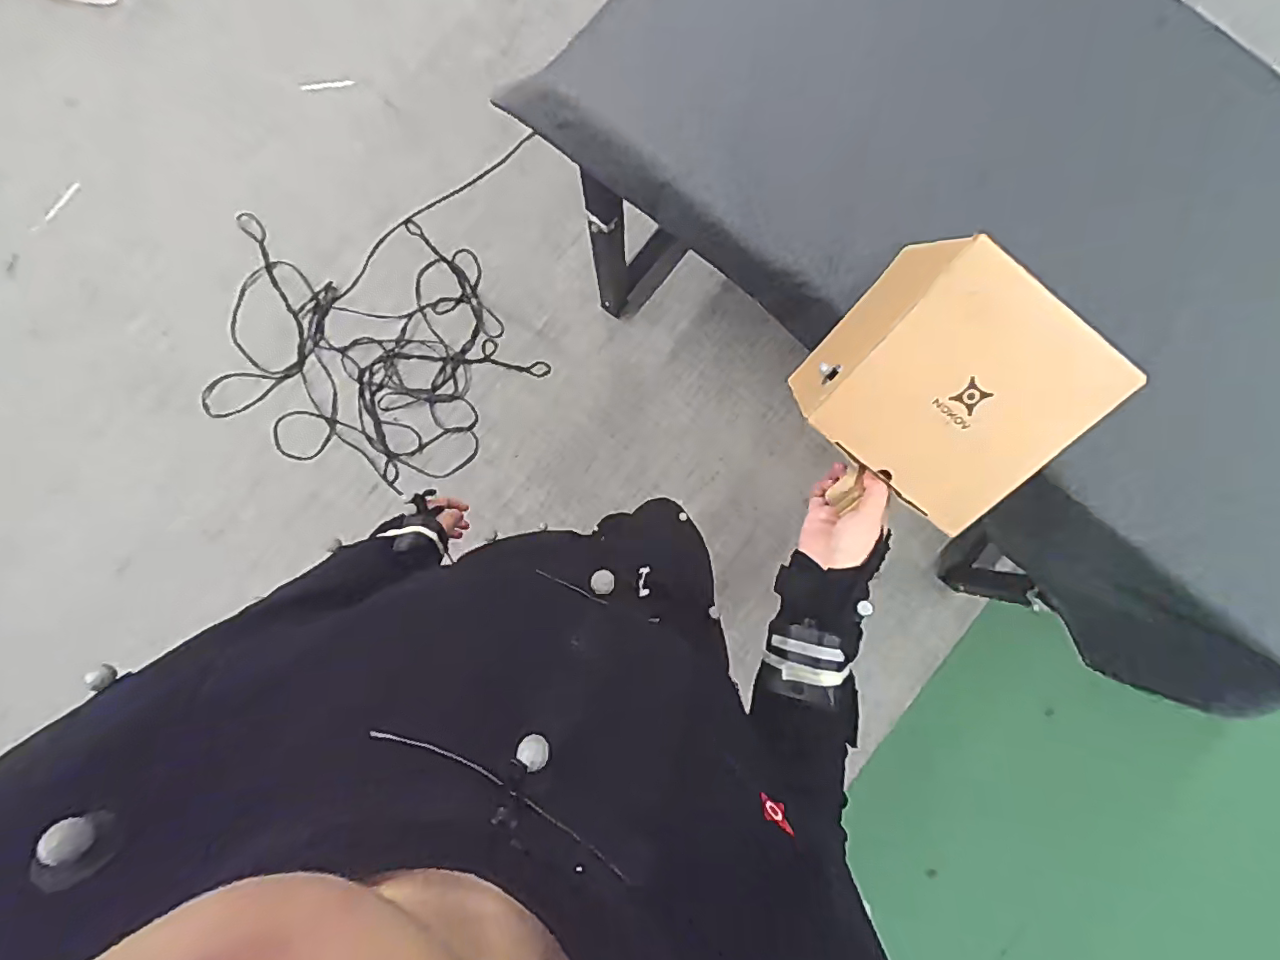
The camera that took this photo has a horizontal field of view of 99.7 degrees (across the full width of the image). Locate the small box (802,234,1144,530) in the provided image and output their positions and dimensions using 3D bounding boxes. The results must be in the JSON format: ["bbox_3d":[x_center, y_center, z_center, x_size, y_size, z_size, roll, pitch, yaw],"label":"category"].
[{"bbox_3d":[0.267,-0.096,0.489,0.168,0.176,0.179,36,114,-6],"label":"small box"}]
